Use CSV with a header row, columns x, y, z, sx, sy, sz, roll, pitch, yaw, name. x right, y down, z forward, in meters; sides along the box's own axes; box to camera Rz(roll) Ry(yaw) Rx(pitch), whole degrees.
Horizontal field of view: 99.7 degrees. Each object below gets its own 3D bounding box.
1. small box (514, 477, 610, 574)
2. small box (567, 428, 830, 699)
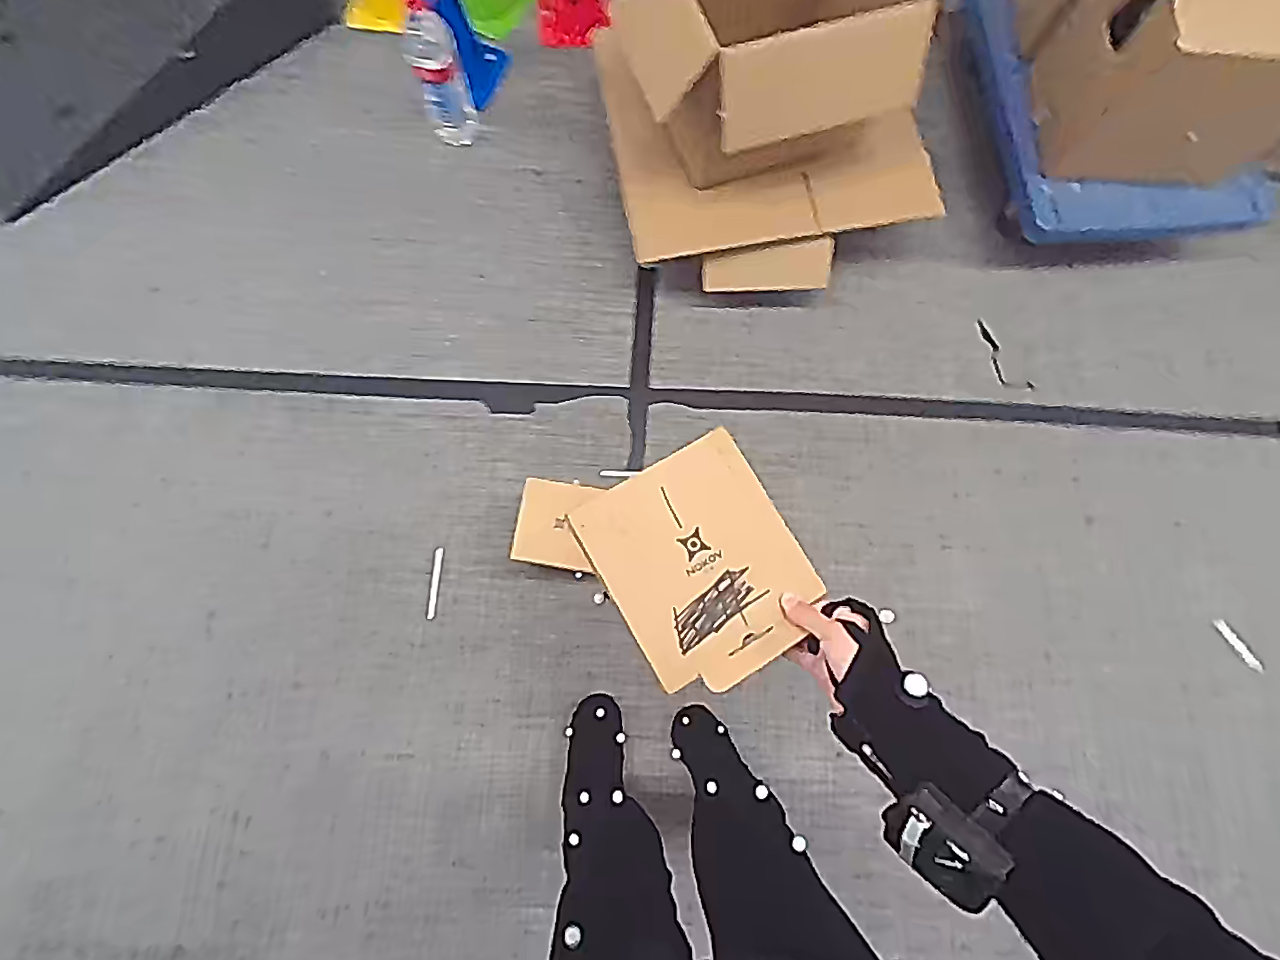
x,y,z,sx,sy,sz,roll,pitch,yaw,name
-0.148,0.102,1.134,0.179,0.176,0.168,9,78,-1,small box
0.044,0.079,0.531,0.168,0.176,0.179,-30,82,-10,small box
